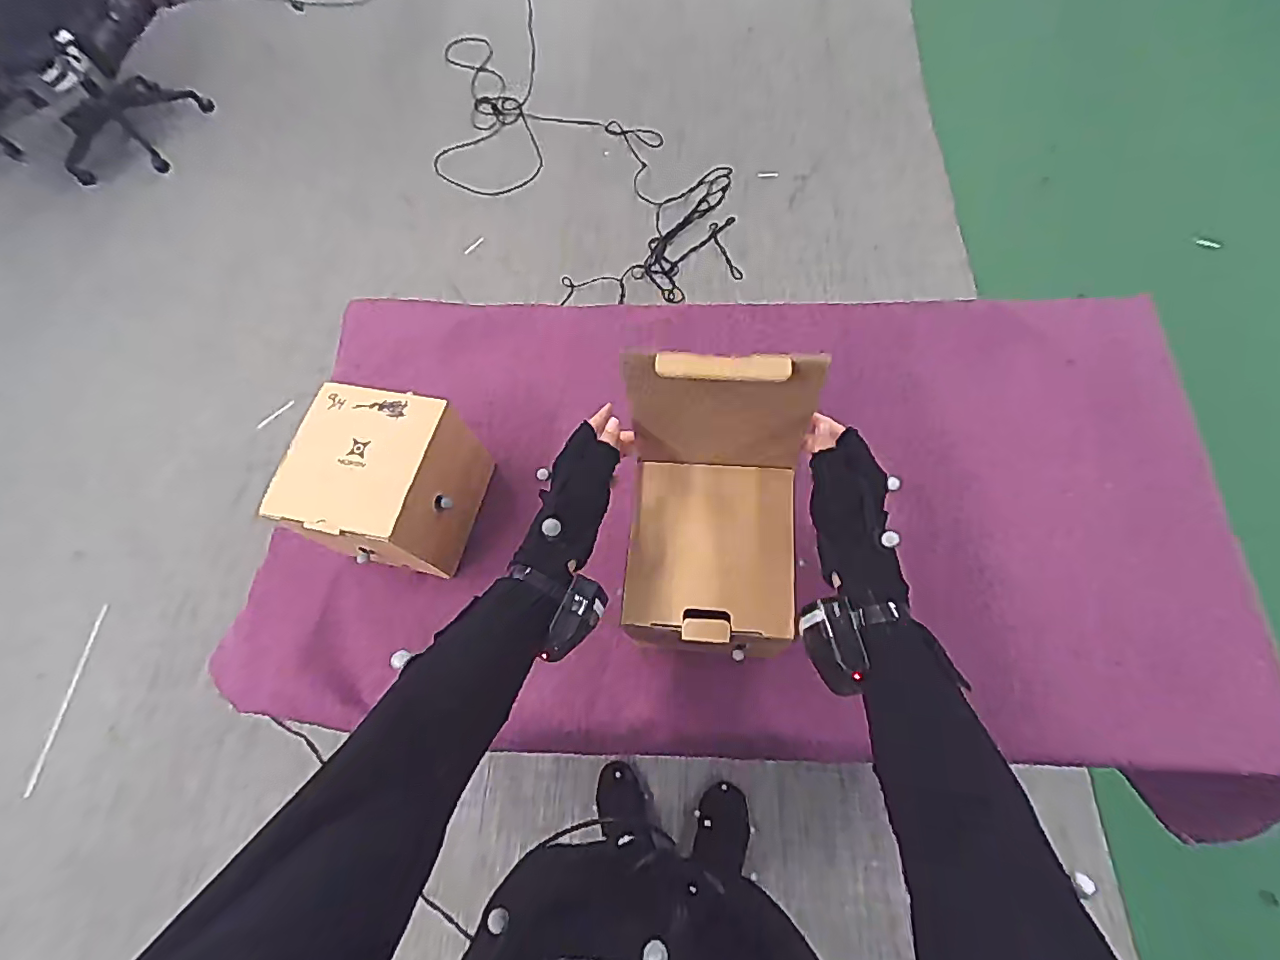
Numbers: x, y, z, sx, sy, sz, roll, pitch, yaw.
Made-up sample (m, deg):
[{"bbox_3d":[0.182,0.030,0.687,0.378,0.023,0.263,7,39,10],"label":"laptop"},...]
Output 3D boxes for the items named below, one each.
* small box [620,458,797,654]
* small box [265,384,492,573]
[{"bbox_3d":[0.078,0.092,0.603,0.168,0.176,0.179,4,66,7],"label":"small box"},{"bbox_3d":[-0.308,0.006,0.682,0.168,0.176,0.179,10,68,10],"label":"small box"}]
